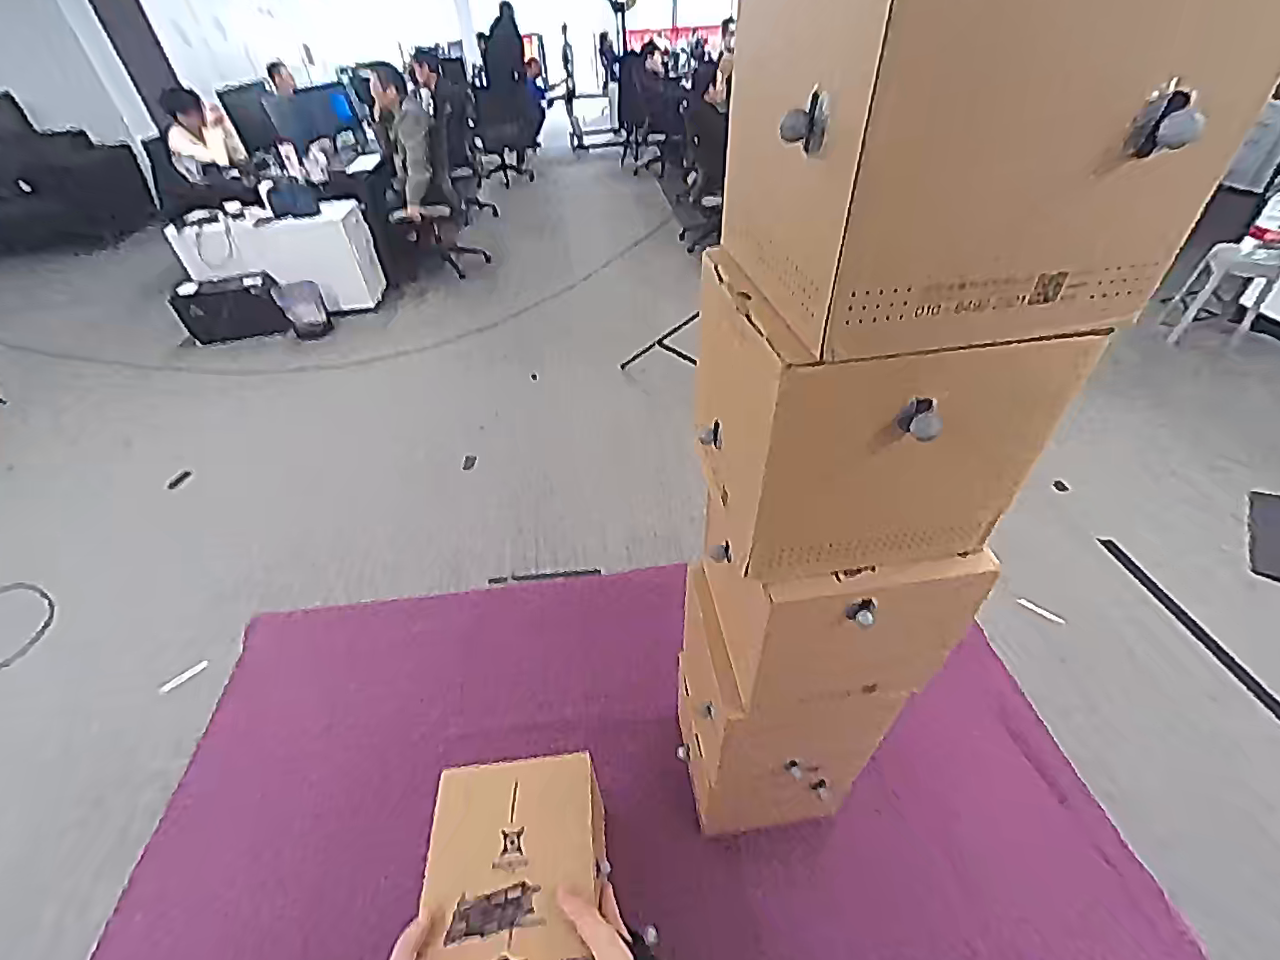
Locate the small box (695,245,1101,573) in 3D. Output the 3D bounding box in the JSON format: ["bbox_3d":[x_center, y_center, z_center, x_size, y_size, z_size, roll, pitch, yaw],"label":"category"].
[{"bbox_3d":[0.141,-0.056,0.376,0.179,0.176,0.168,-8,42,-5],"label":"small box"}]

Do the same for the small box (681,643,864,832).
[{"bbox_3d":[0.151,0.321,0.689,0.179,0.176,0.168,-8,41,-4],"label":"small box"}]

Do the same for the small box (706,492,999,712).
[{"bbox_3d":[0.156,0.073,0.475,0.168,0.176,0.179,-7,41,-4],"label":"small box"}]

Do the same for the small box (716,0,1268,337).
[{"bbox_3d":[0.142,-0.182,0.273,0.168,0.176,0.179,-8,41,-7],"label":"small box"}]

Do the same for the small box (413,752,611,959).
[{"bbox_3d":[-0.123,0.427,0.588,0.168,0.176,0.179,-6,41,-2],"label":"small box"}]
